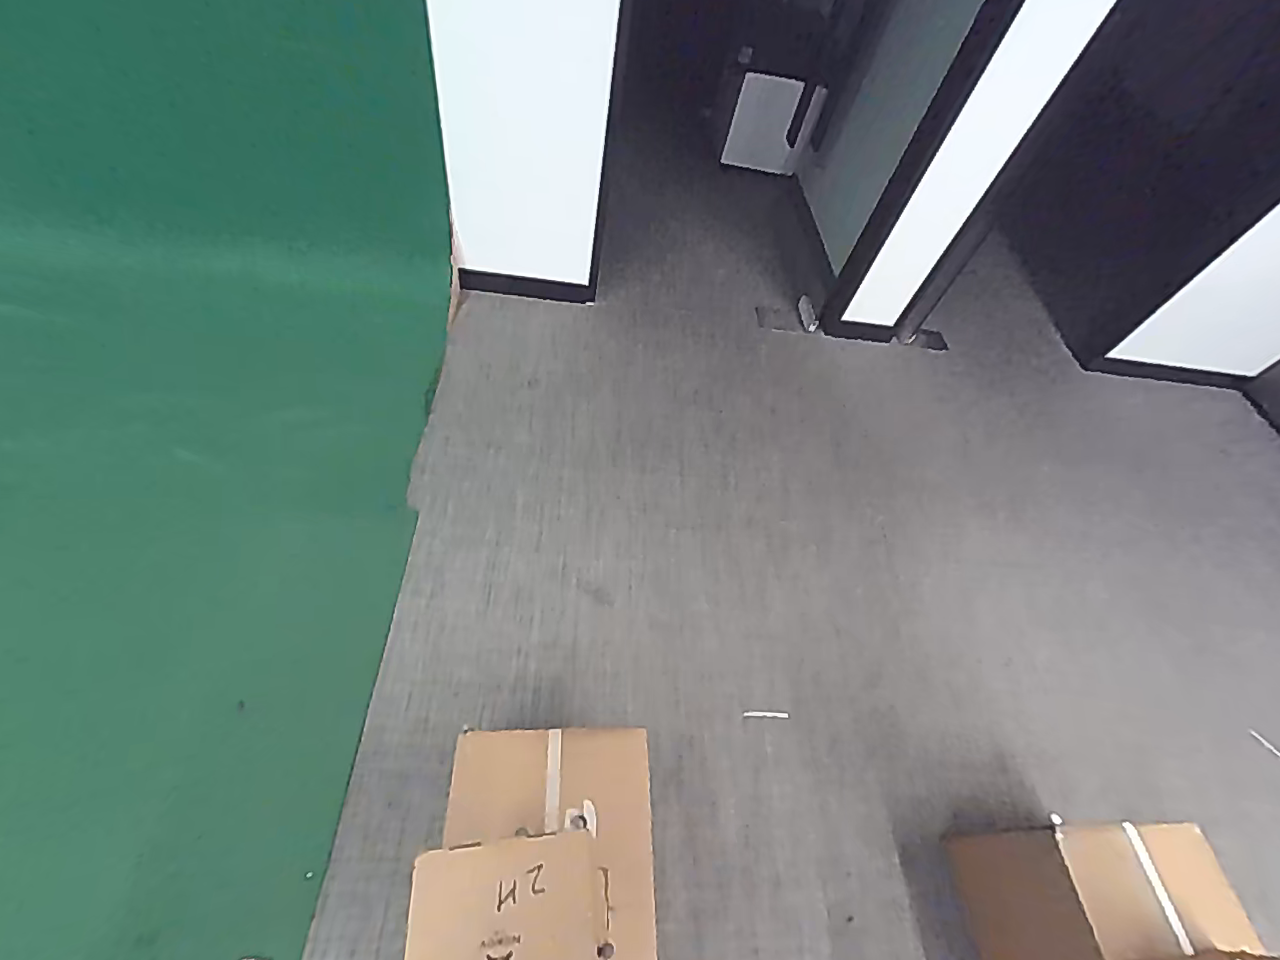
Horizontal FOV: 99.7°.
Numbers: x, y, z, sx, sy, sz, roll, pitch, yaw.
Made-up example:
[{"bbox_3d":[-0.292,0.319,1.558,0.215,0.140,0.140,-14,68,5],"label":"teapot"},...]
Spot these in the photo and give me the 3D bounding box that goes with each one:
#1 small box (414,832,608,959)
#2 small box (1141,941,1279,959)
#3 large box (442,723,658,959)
[{"bbox_3d":[-0.117,0.465,0.537,0.168,0.176,0.179,-4,54,-6],"label":"small box"},{"bbox_3d":[0.874,0.766,0.752,0.179,0.176,0.168,1,56,-9],"label":"small box"},{"bbox_3d":[-0.157,0.660,0.908,0.320,0.320,0.408,3,54,-9],"label":"large box"}]
